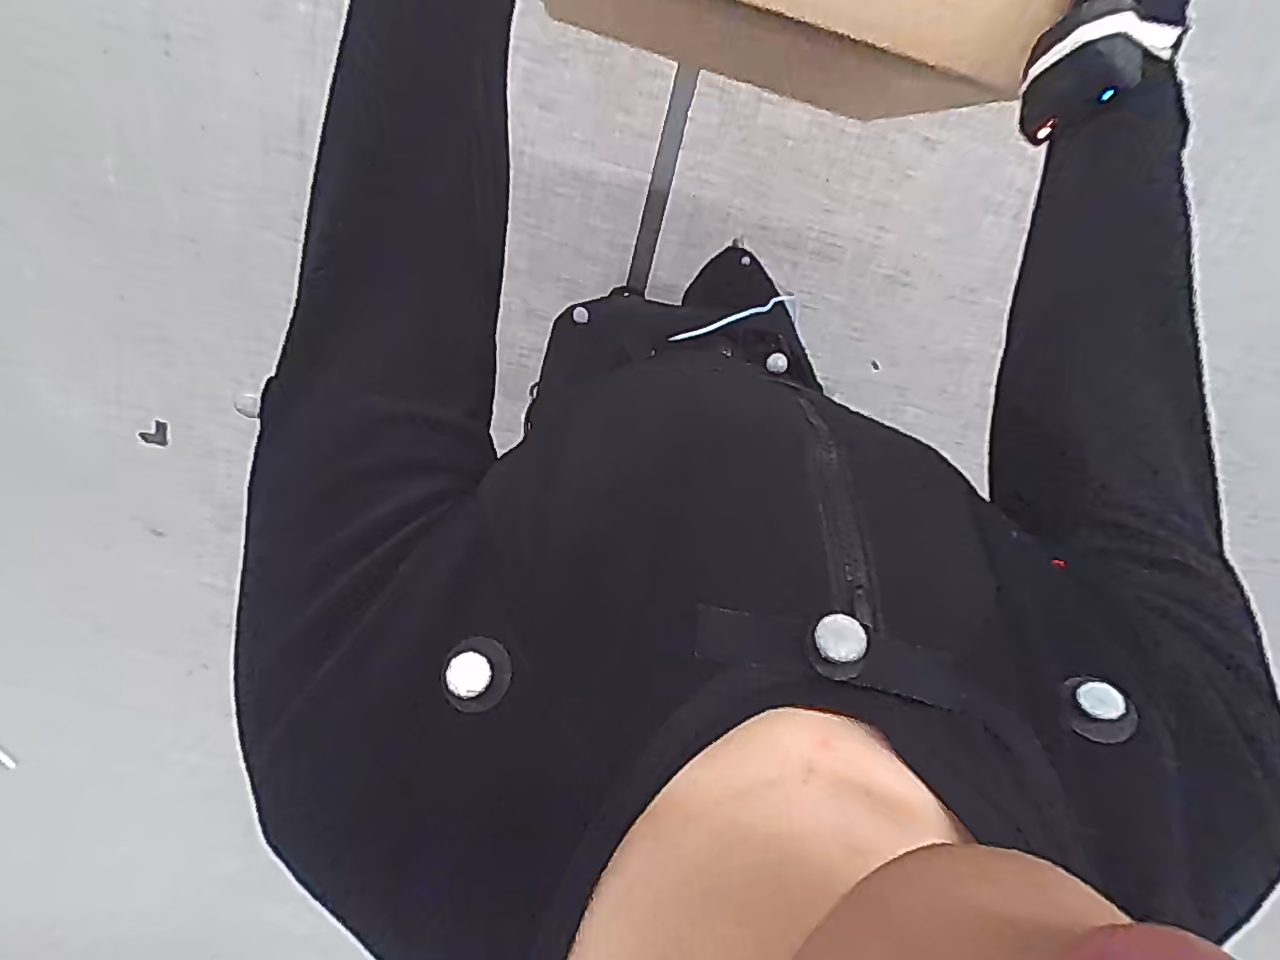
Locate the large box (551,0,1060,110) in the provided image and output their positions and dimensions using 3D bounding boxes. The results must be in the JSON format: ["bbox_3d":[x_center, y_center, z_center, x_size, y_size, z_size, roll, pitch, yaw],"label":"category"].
[{"bbox_3d":[0.134,-0.549,0.451,0.408,0.320,0.320,10,121,-10],"label":"large box"}]
